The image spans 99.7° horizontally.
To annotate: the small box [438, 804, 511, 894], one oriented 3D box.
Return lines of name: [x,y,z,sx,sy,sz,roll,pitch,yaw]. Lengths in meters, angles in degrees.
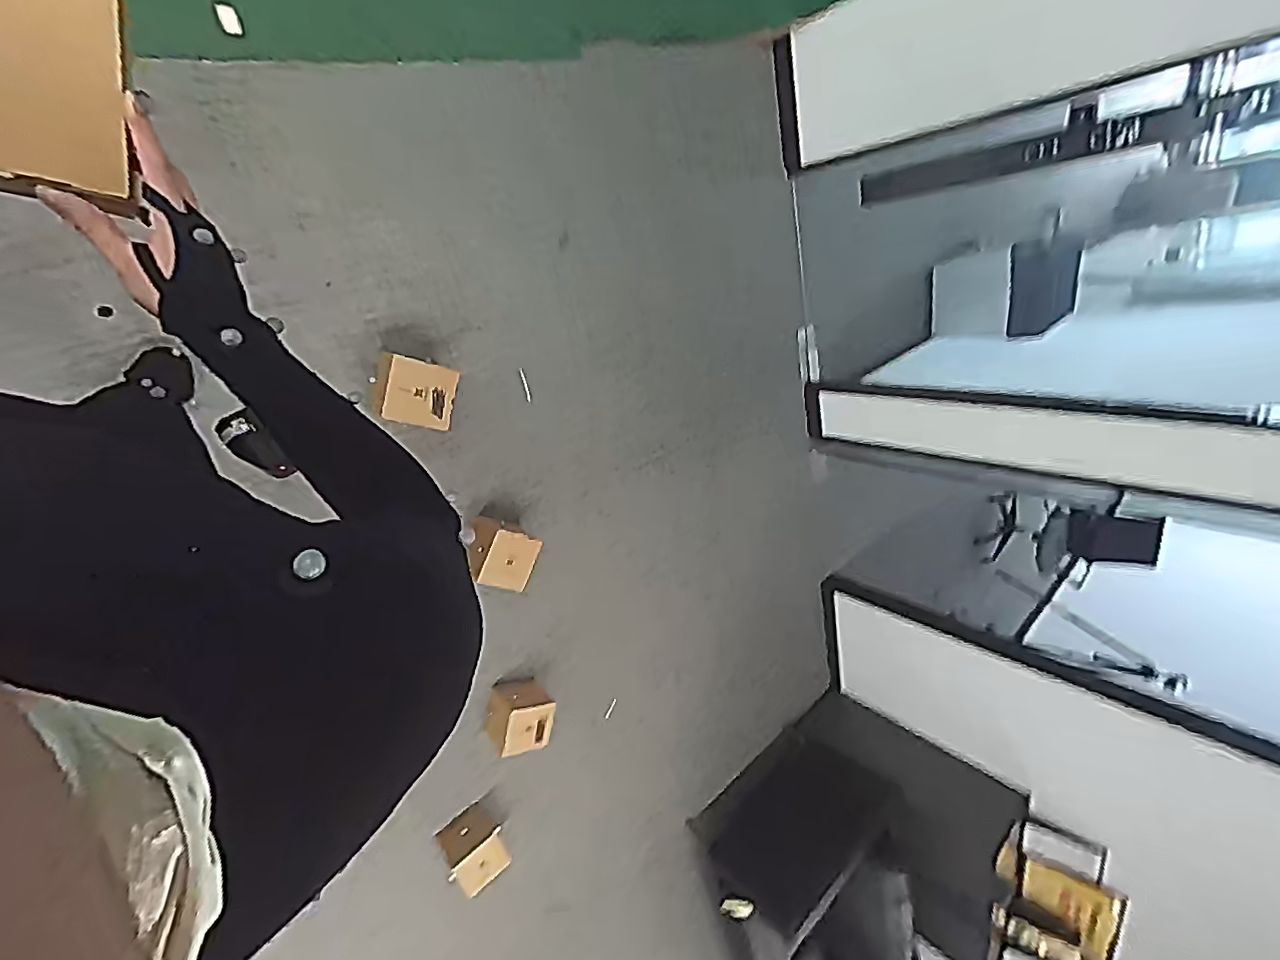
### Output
small box: [-0.587,1.287,1.905,0.168,0.176,0.179,-31,120,-28]

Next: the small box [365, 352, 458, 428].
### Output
small box: [-0.621,-0.246,1.464,0.179,0.176,0.168,10,95,-40]

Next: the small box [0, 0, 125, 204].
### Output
small box: [-0.489,-0.315,0.387,0.168,0.176,0.179,-5,111,-41]
